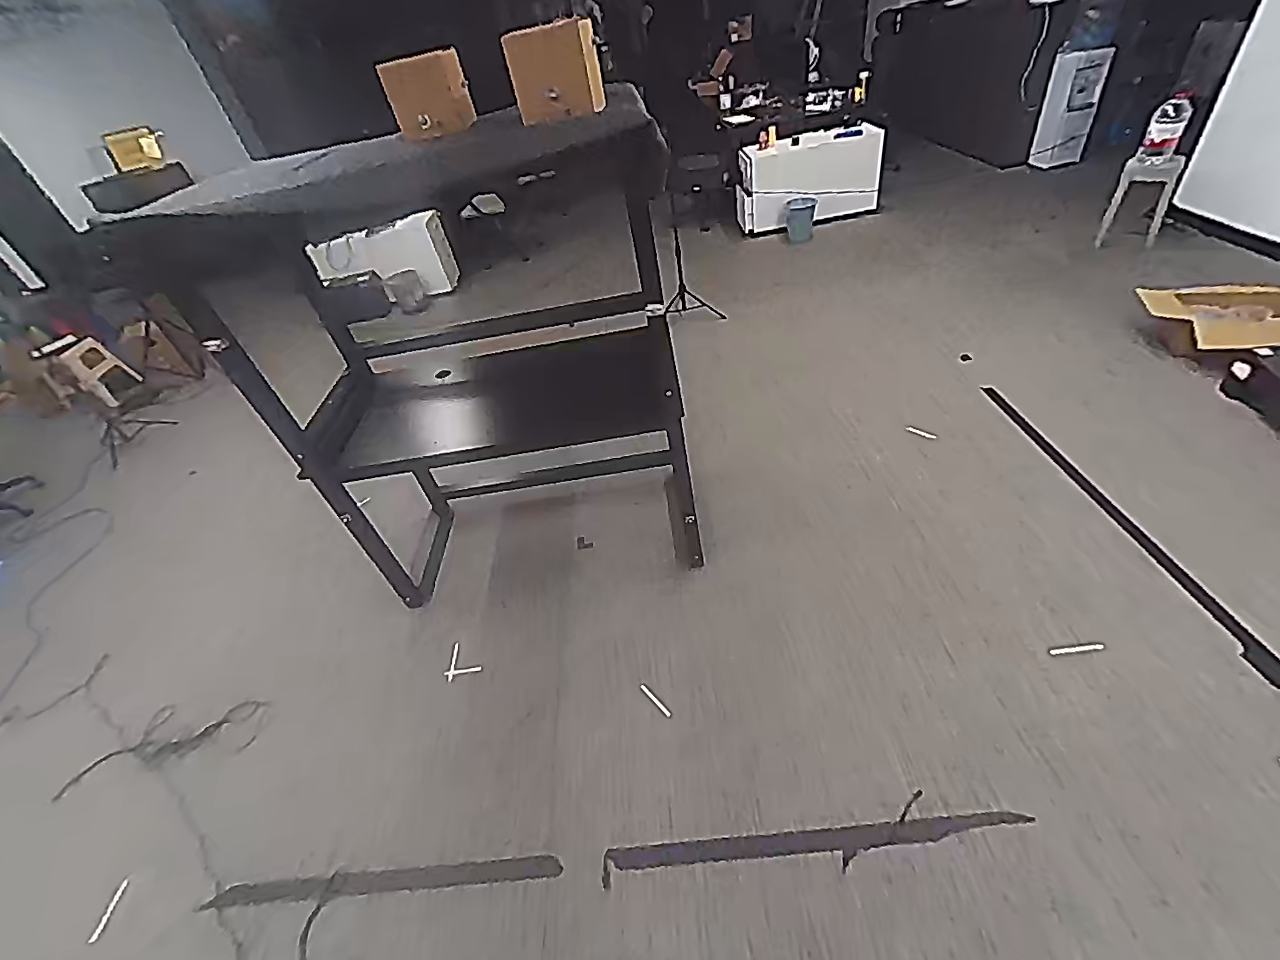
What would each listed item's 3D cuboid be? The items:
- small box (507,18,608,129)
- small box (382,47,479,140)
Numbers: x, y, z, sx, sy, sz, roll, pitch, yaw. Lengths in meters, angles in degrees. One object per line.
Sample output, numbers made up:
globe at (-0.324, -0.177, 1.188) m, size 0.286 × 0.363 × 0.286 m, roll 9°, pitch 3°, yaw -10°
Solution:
small box at (-0.172, -0.898, 1.198) m, size 0.168 × 0.176 × 0.179 m, roll -5°, pitch 42°, yaw 10°
small box at (-0.539, -1.014, 1.422) m, size 0.168 × 0.176 × 0.179 m, roll -9°, pitch 41°, yaw 5°
